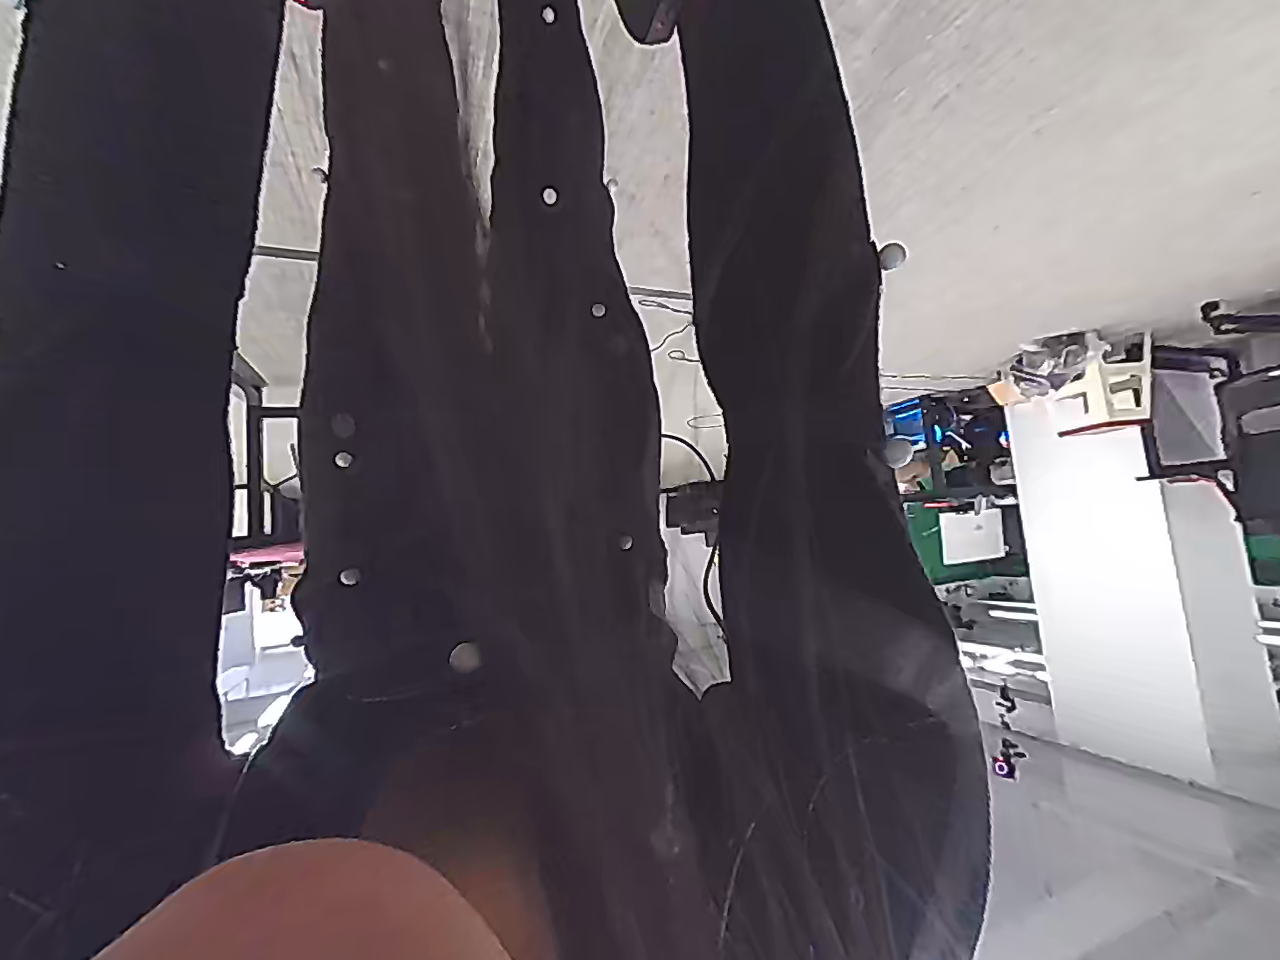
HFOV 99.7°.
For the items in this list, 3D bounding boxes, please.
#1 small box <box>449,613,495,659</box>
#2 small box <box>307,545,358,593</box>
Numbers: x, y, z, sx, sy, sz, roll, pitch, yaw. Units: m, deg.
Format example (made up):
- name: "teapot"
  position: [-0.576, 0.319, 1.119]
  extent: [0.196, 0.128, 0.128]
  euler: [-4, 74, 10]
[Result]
- name: "small box"
  position: [-0.709, 0.640, 2.269]
  extent: [0.168, 0.176, 0.179]
  euler: [-3, 174, -25]
- name: "small box"
  position: [-1.201, 0.342, 2.110]
  extent: [0.168, 0.176, 0.179]
  euler: [-3, 174, -29]
